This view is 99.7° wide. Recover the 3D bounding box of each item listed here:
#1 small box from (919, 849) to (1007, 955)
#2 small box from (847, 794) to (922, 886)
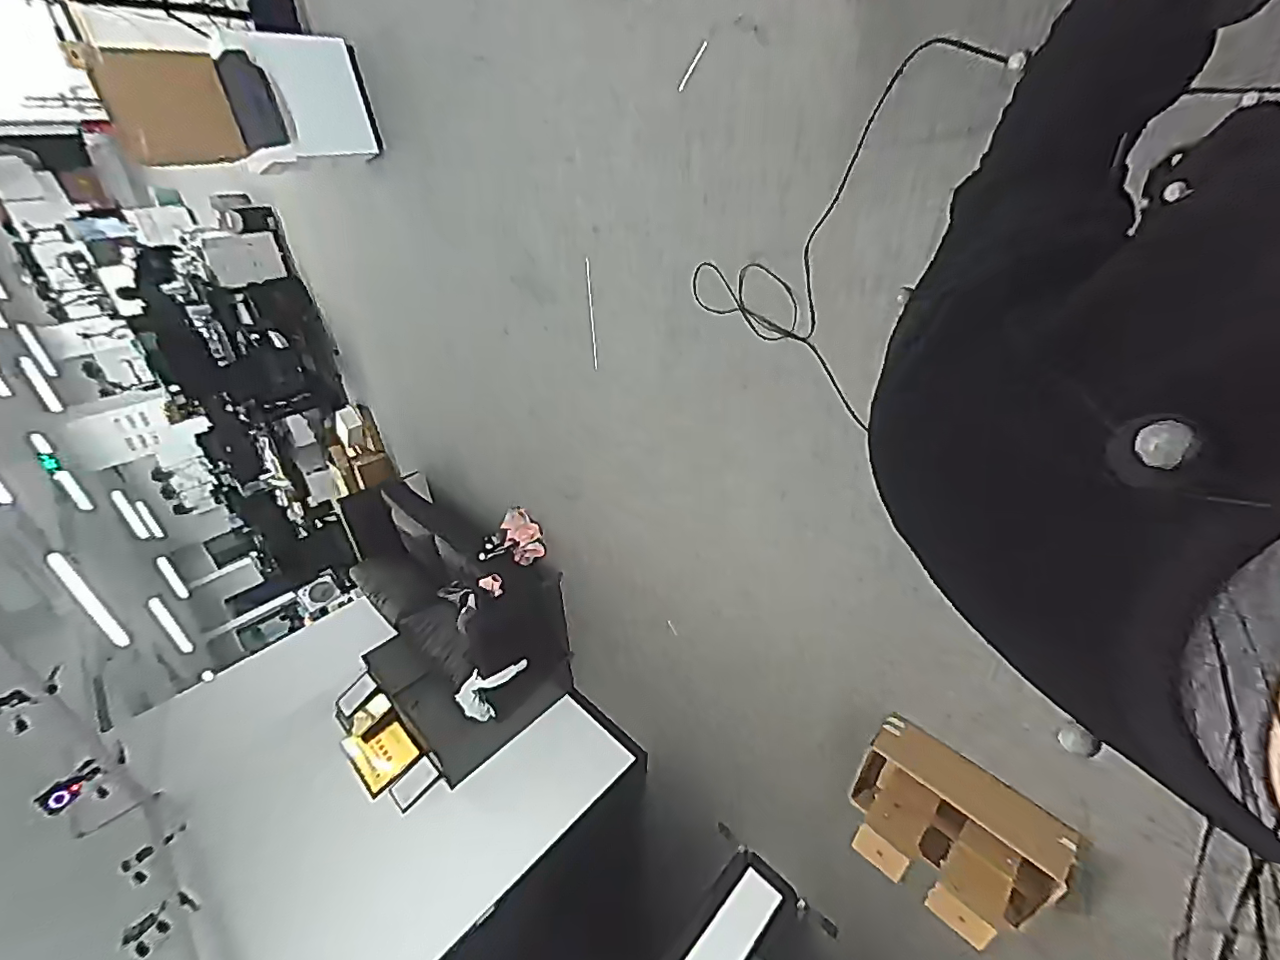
[{"bbox_3d":[1.028,1.334,1.718,0.179,0.176,0.168,28,133,38],"label":"small box"},{"bbox_3d":[0.848,1.238,1.871,0.168,0.176,0.179,29,133,35],"label":"small box"}]
